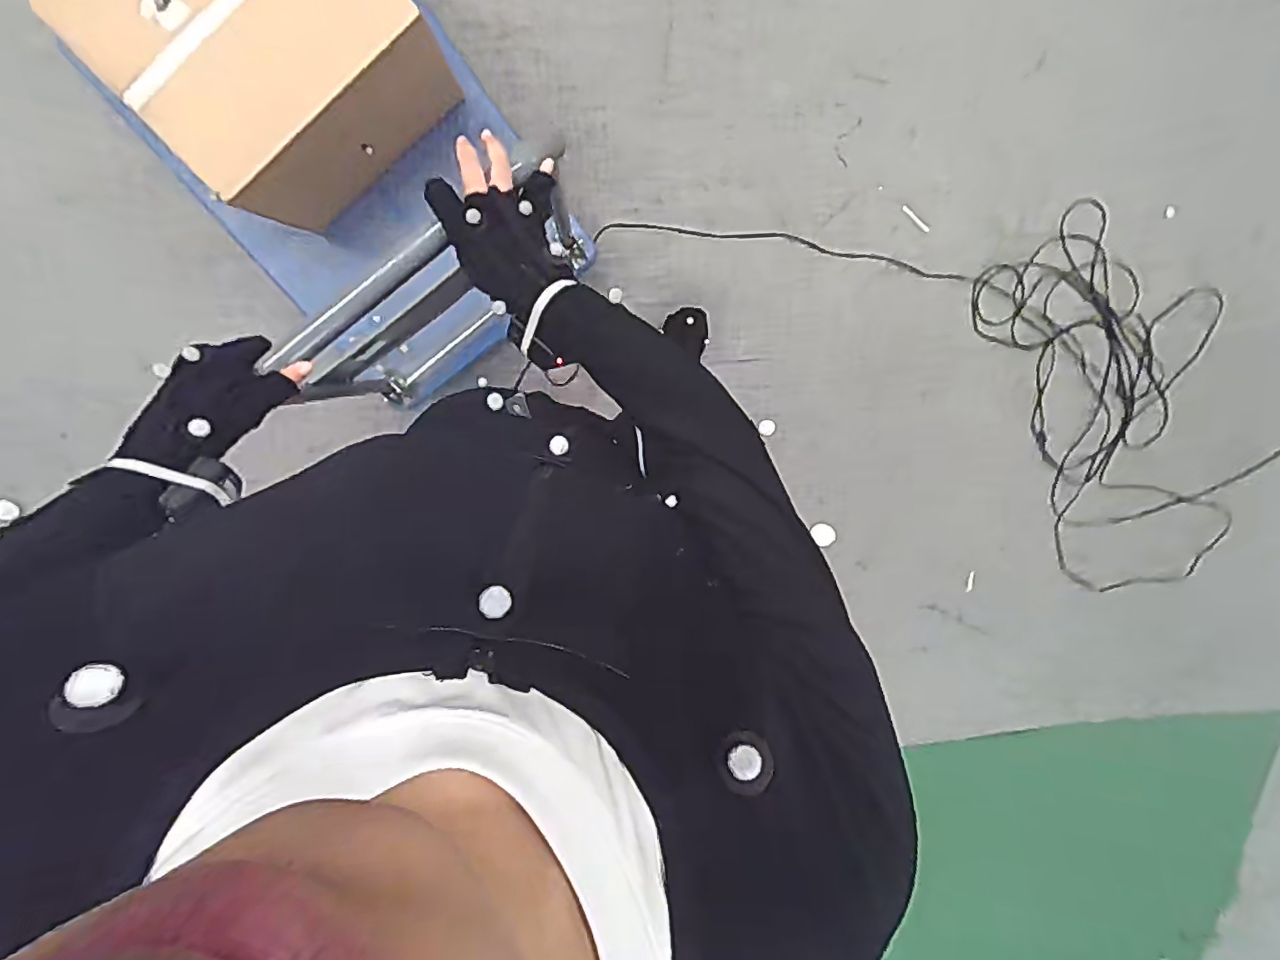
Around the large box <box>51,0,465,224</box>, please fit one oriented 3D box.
[{"bbox_3d":[-0.566,-0.702,0.890,0.408,0.320,0.320,-39,106,7],"label":"large box"}]
